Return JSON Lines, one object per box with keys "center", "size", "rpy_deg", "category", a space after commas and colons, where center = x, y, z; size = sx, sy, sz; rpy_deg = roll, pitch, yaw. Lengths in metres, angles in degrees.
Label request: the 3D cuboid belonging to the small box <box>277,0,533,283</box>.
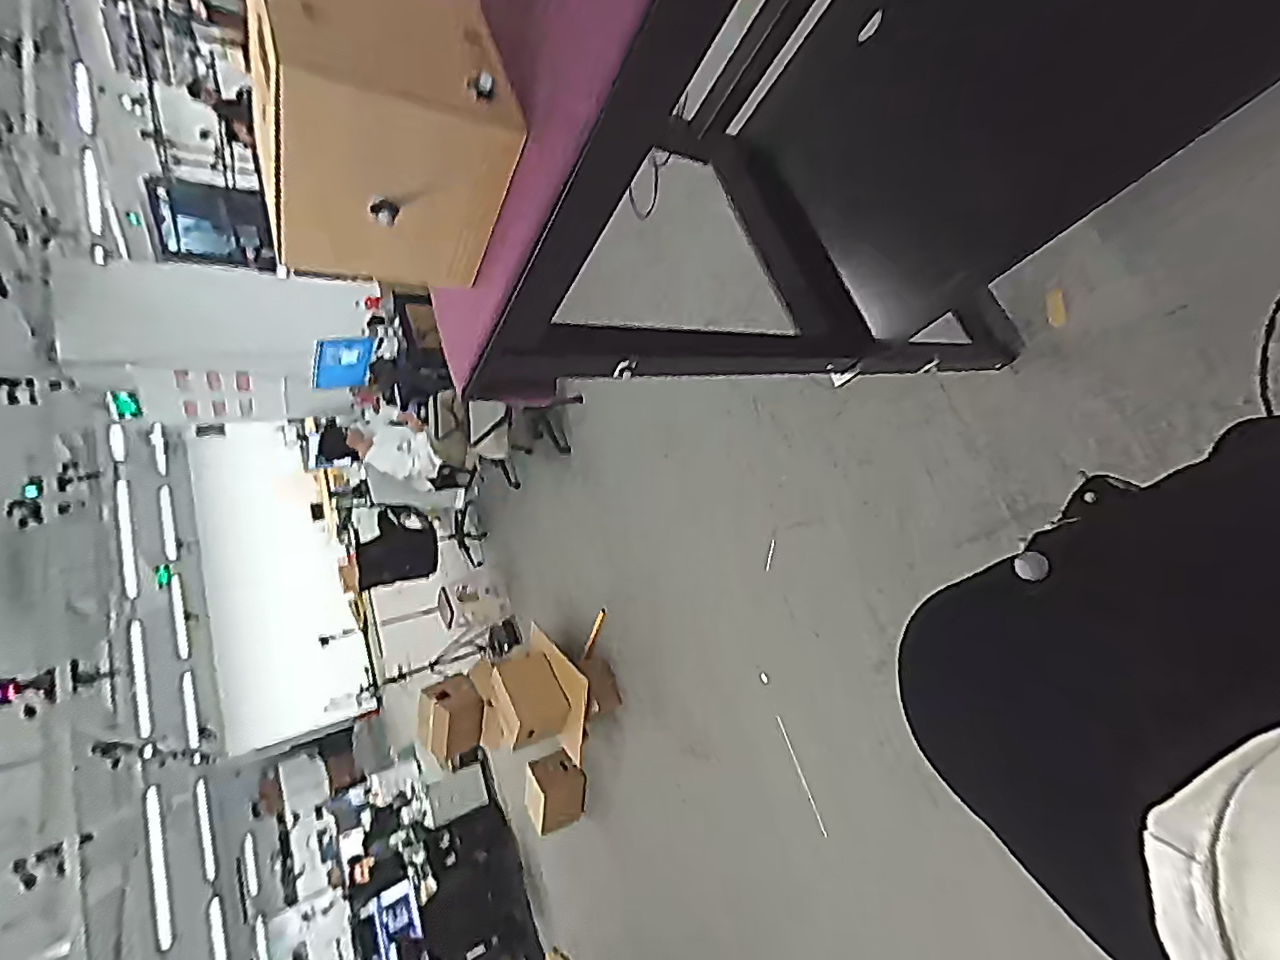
{"center": [-0.209, -0.302, 0.481], "size": [0.179, 0.176, 0.168], "rpy_deg": [-43, 61, 50], "category": "small box"}
